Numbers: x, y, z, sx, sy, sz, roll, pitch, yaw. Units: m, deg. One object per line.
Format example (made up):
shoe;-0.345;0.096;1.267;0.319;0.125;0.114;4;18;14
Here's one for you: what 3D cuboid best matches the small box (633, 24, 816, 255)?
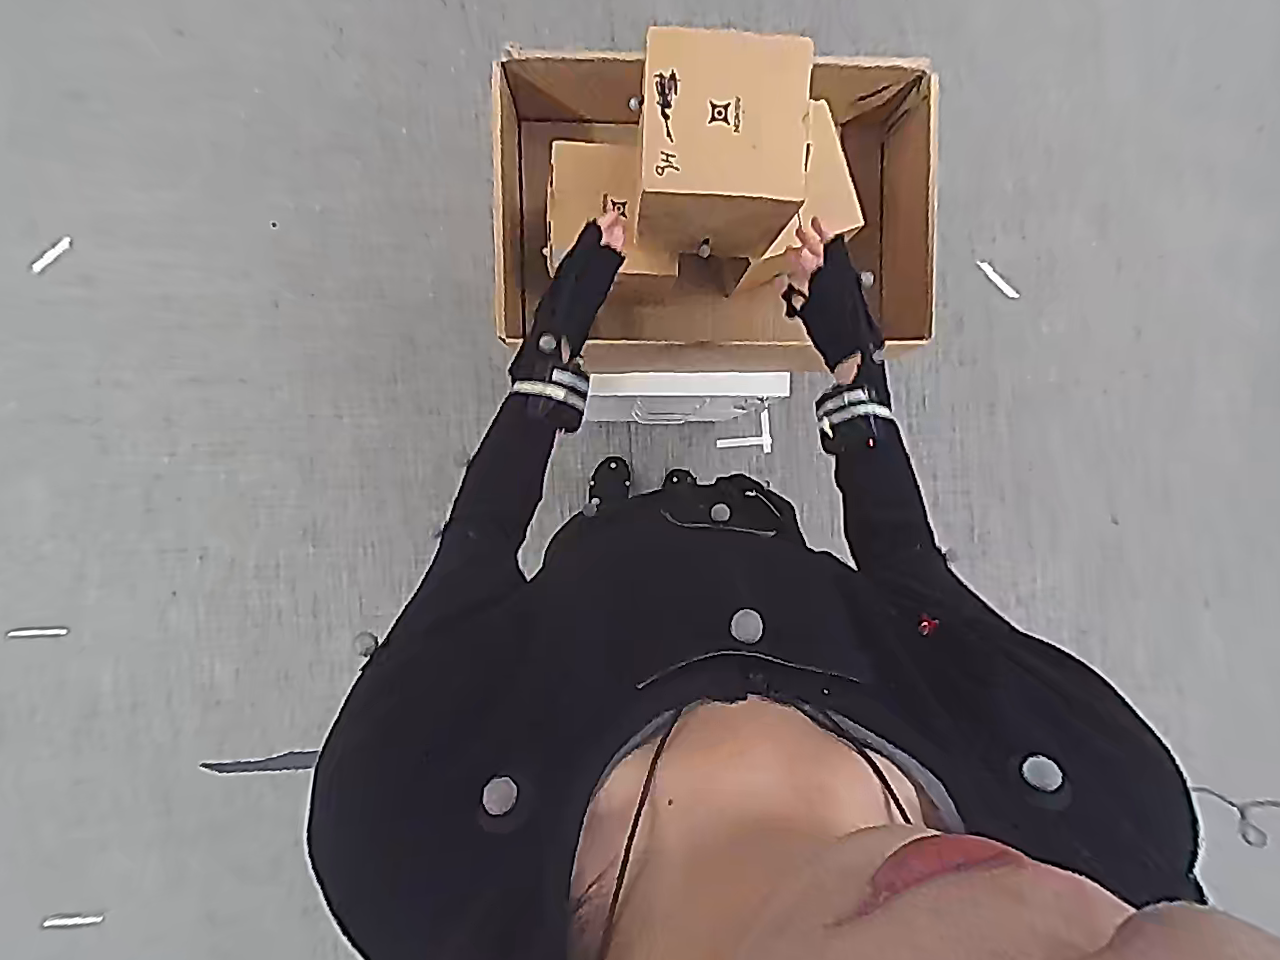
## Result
small box;0.087;-0.380;0.637;0.179;0.176;0.168;2;92;-4
